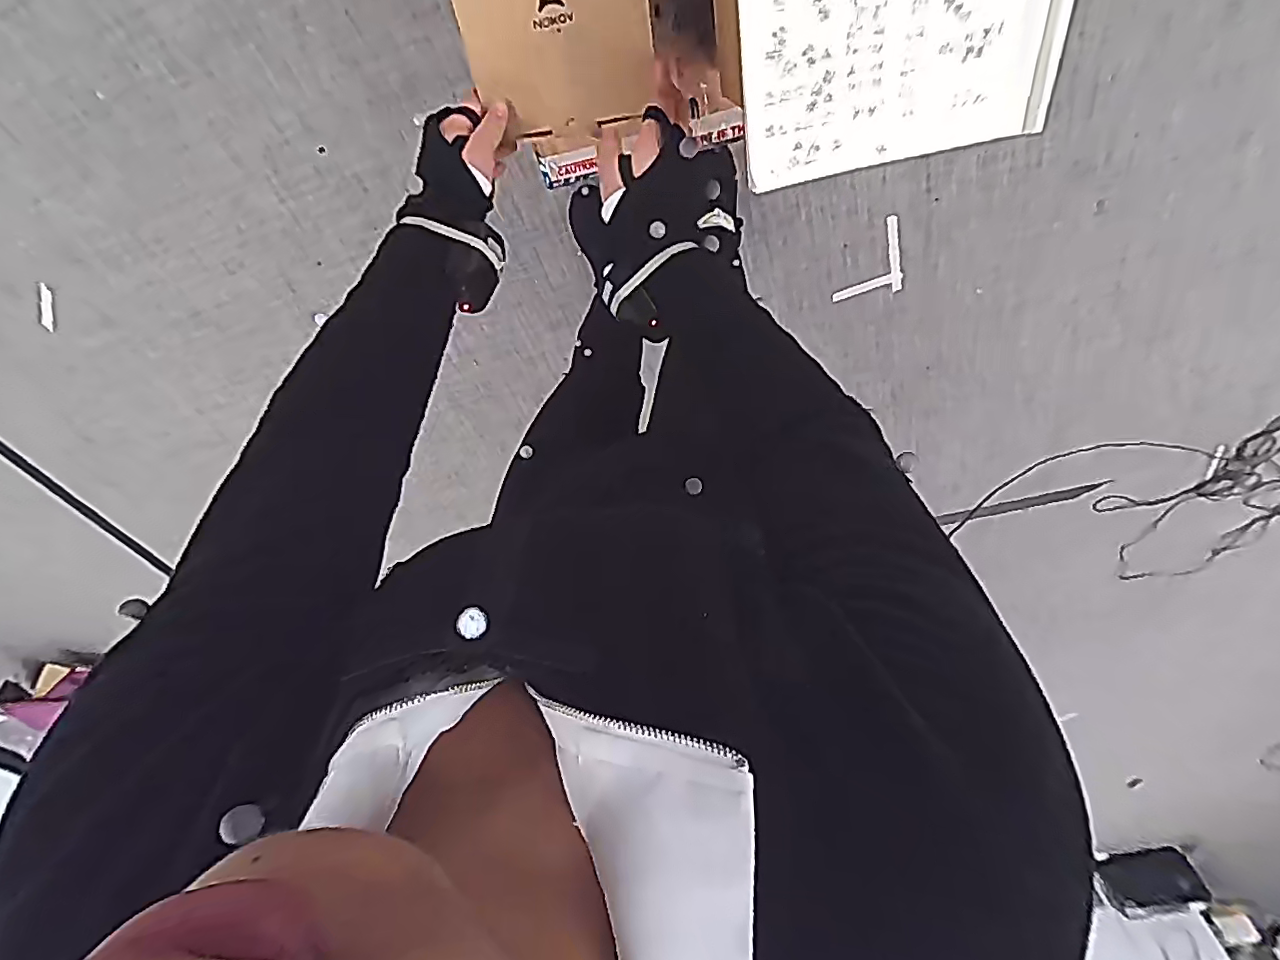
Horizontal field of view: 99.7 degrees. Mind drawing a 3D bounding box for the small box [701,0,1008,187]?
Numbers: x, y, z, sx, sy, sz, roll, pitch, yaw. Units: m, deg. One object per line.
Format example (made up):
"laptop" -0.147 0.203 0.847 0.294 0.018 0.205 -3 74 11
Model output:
"small box" 0.138 -0.341 0.392 0.168 0.176 0.179 -11 131 5
